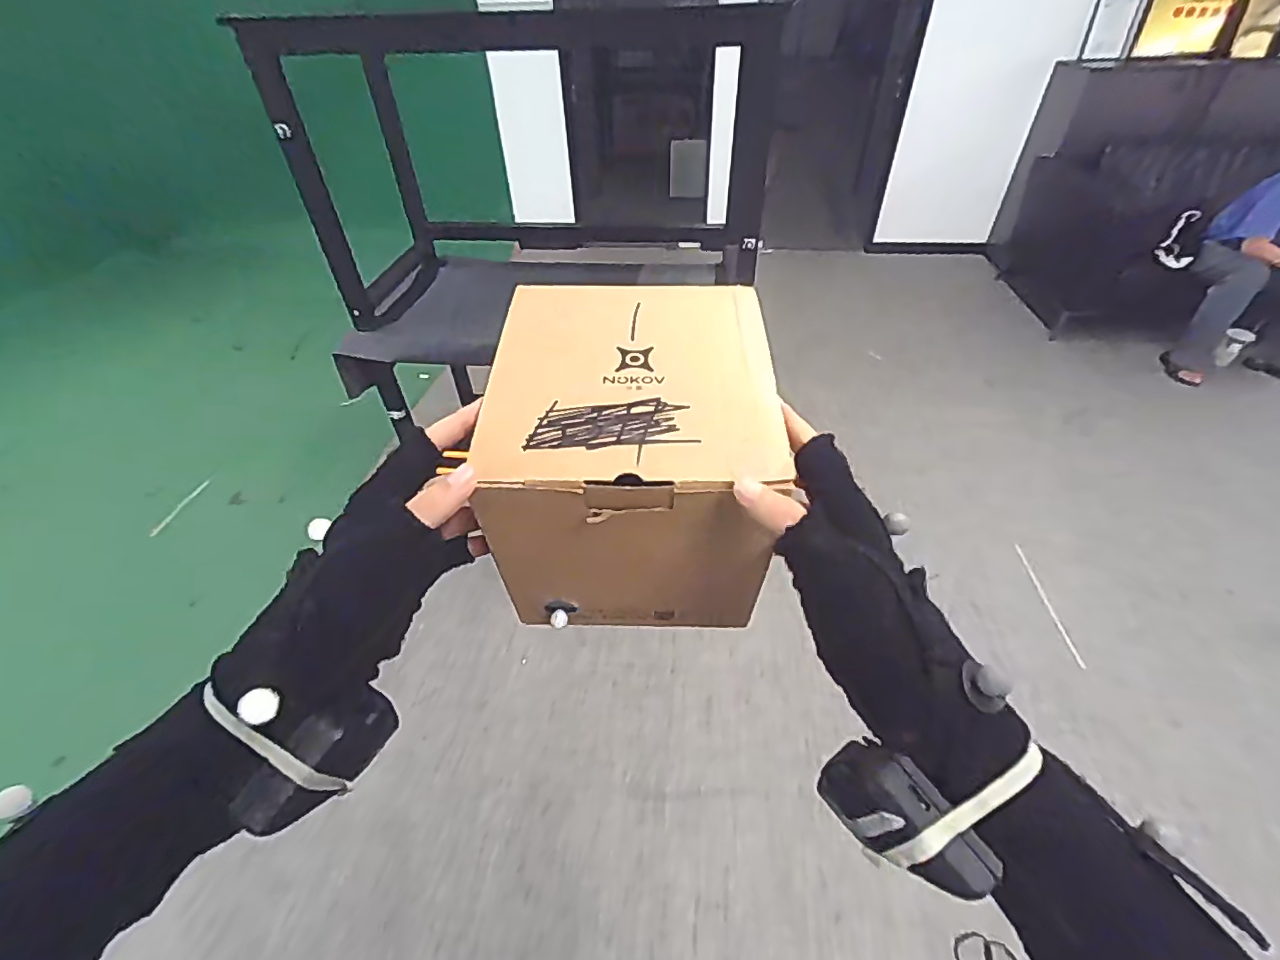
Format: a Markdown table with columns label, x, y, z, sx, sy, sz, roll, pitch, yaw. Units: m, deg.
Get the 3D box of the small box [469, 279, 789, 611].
| label | x | y | z | sx | sy | sz | roll | pitch | yaw |
| --- | --- | --- | --- | --- | --- | --- | --- | --- | --- |
| small box | -0.002 | -0.020 | 0.383 | 0.168 | 0.176 | 0.179 | 1 | 50 | 1 |
